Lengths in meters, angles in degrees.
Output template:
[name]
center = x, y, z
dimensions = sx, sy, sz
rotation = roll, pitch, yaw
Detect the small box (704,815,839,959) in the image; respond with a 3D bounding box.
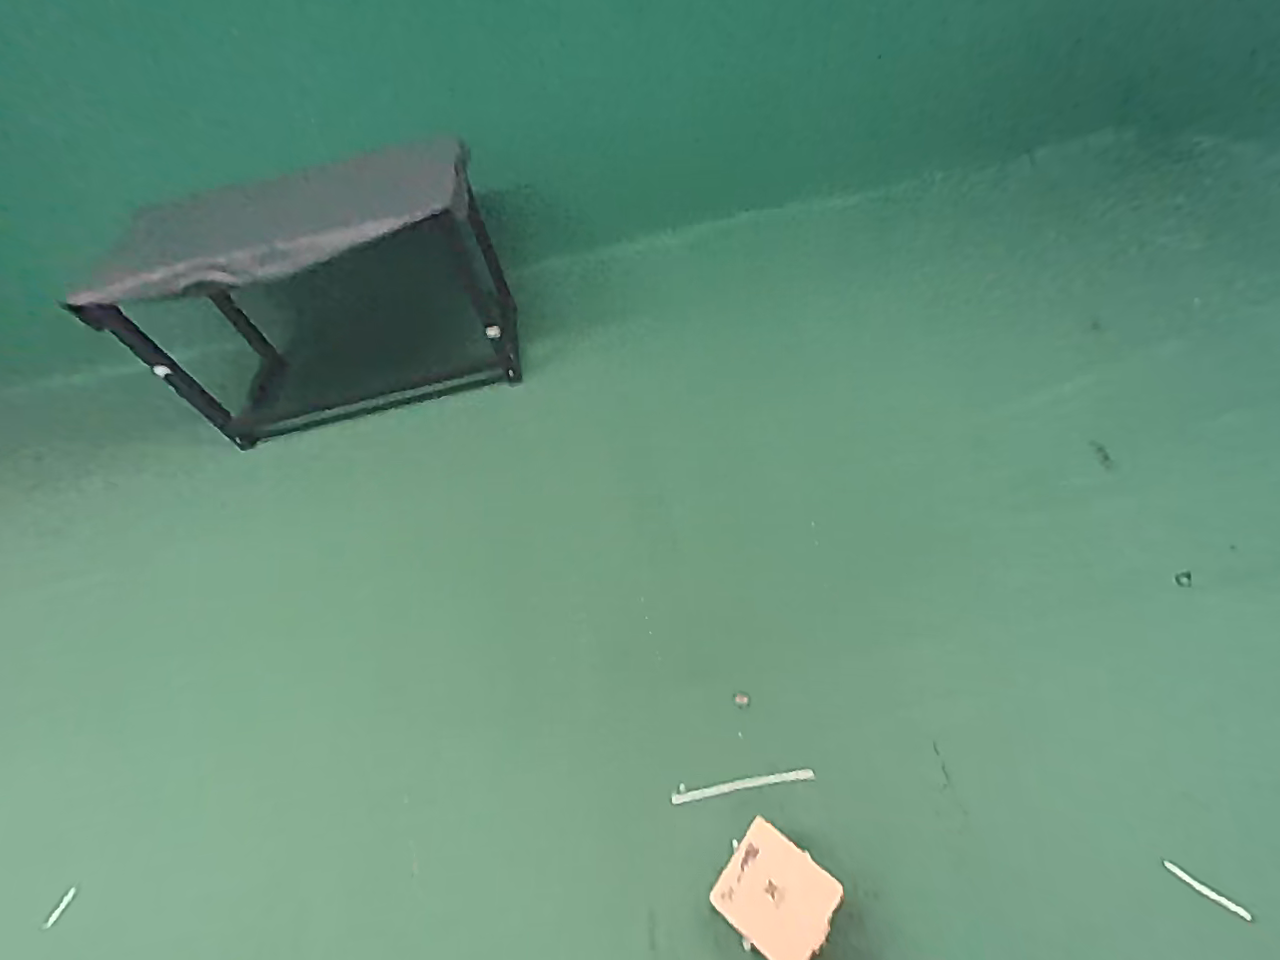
[small box]
center = 0.239, 0.763, 1.000
dimensions = 0.179, 0.176, 0.168
rotation = 30, 63, 30
